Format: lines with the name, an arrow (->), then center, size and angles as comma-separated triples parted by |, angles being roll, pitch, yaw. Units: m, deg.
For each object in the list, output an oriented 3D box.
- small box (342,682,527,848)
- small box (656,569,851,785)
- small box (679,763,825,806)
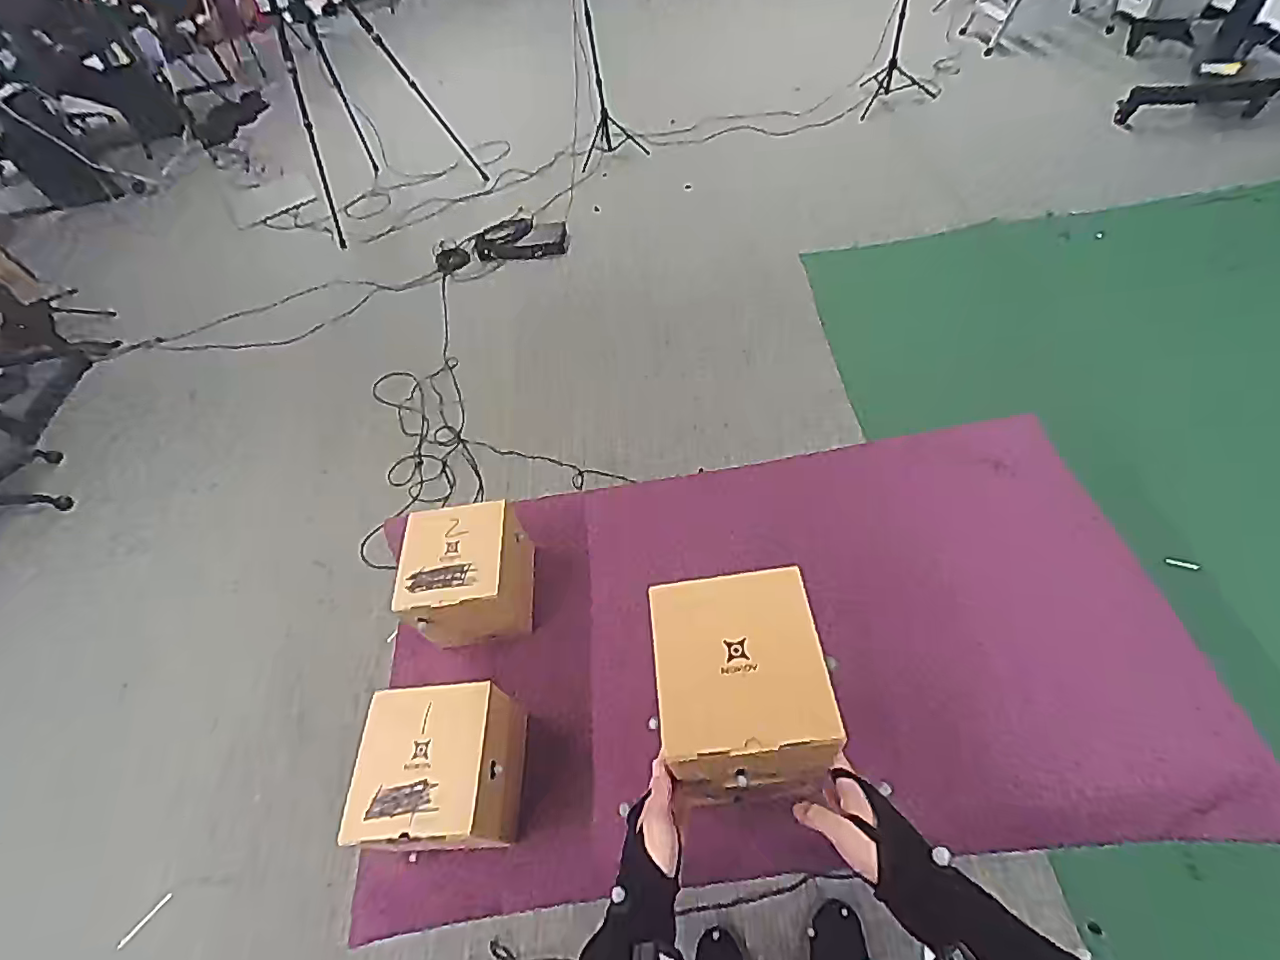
small box -> -0.260, 0.392, 0.735 | 0.168, 0.176, 0.179 | -6, 53, 5
small box -> 0.113, 0.221, 0.598 | 0.168, 0.176, 0.179 | -9, 54, 4
small box -> 0.134, 0.321, 0.724 | 0.168, 0.176, 0.179 | -9, 54, 5
